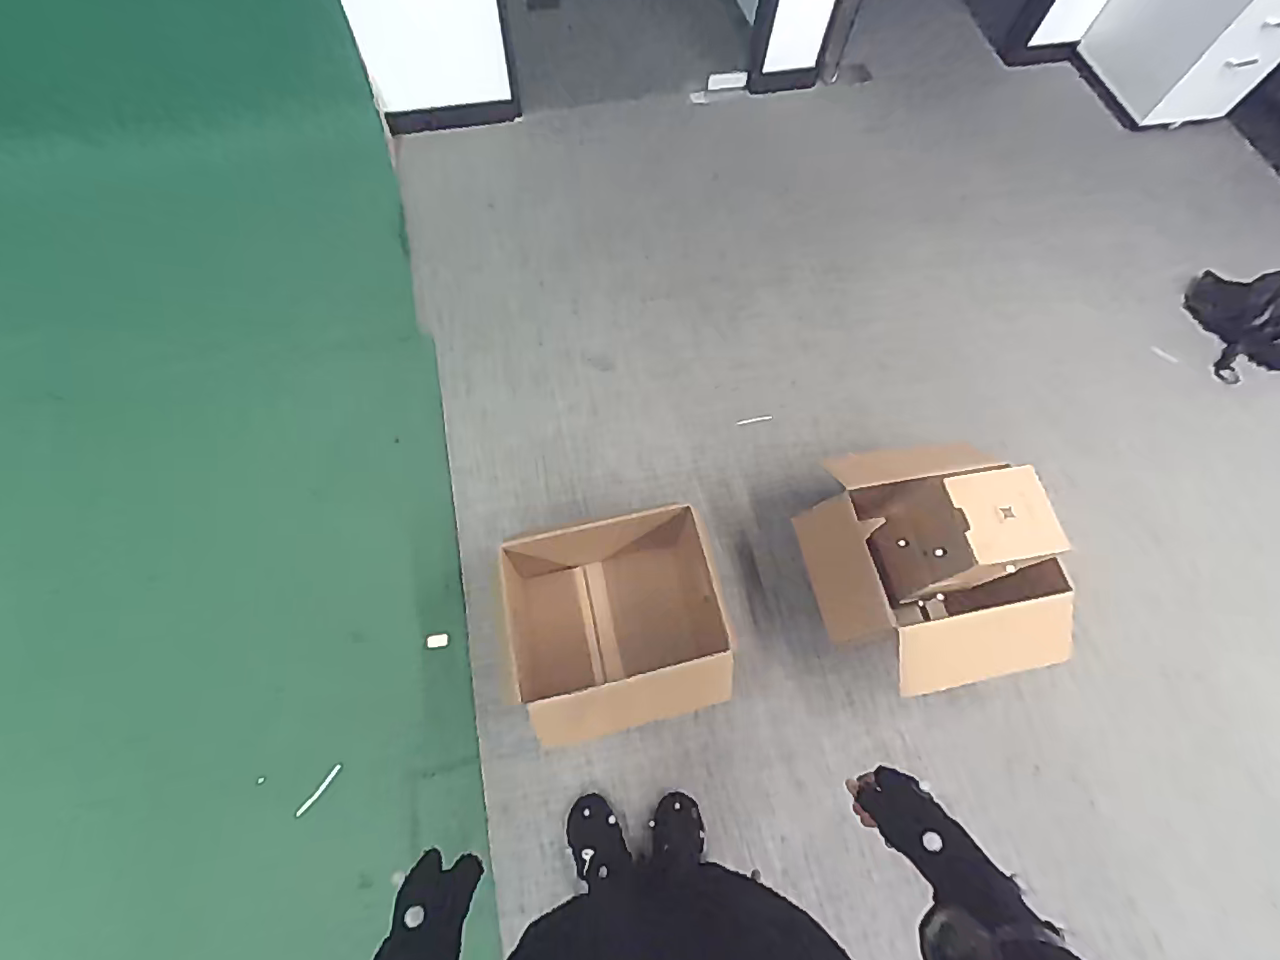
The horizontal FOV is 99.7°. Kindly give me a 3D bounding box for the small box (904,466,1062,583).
[{"bbox_3d":[0.640,0.092,1.040,0.179,0.176,0.168,-10,69,-6],"label":"small box"}]
